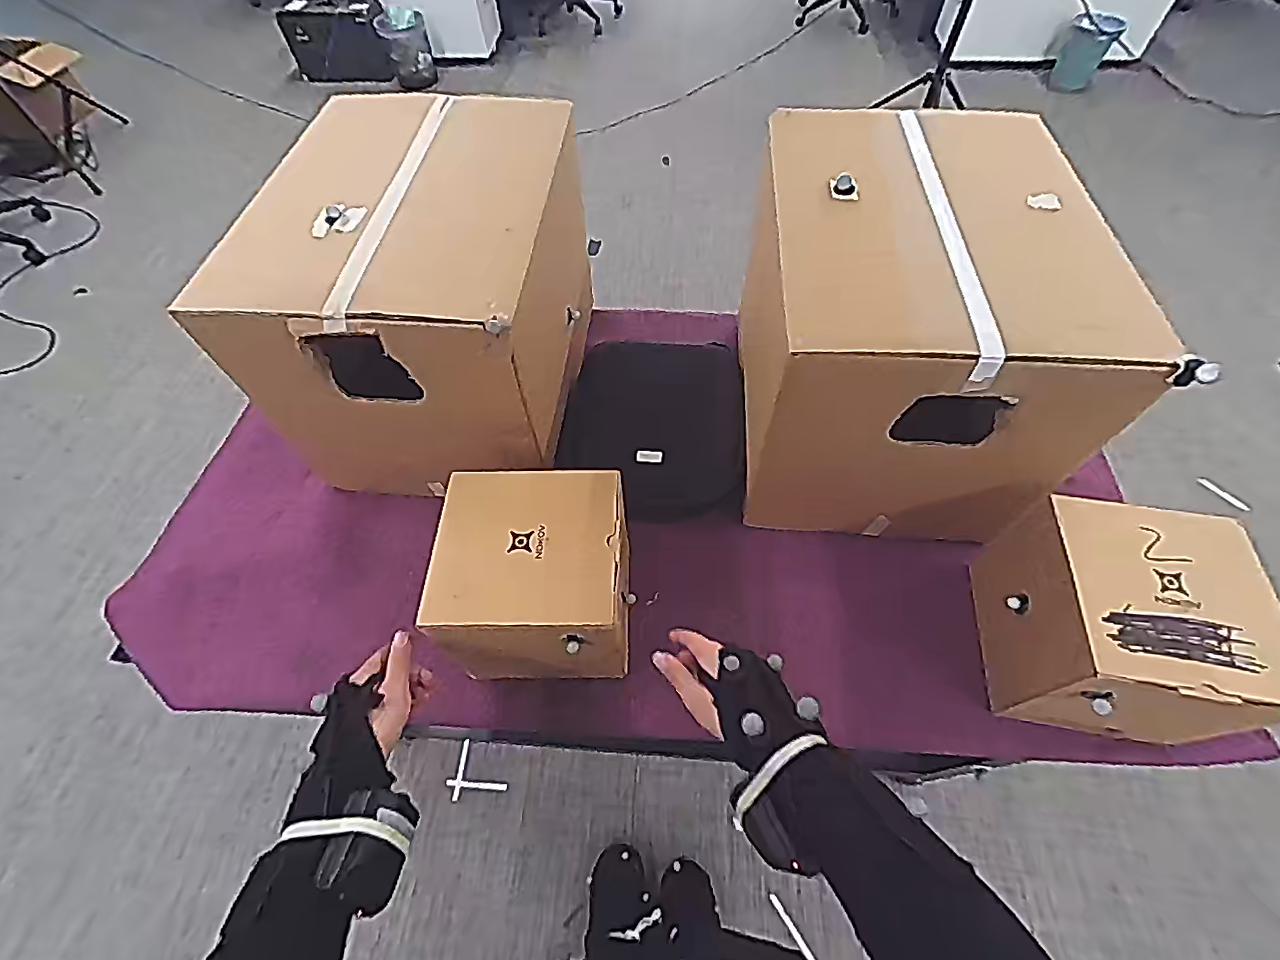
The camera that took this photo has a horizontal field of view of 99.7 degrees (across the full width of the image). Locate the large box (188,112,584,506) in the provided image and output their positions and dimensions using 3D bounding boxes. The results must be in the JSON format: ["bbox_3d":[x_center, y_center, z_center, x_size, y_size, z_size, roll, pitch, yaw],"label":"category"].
[{"bbox_3d":[-0.255,-0.216,0.716,0.320,0.320,0.408,2,60,3],"label":"large box"}]
